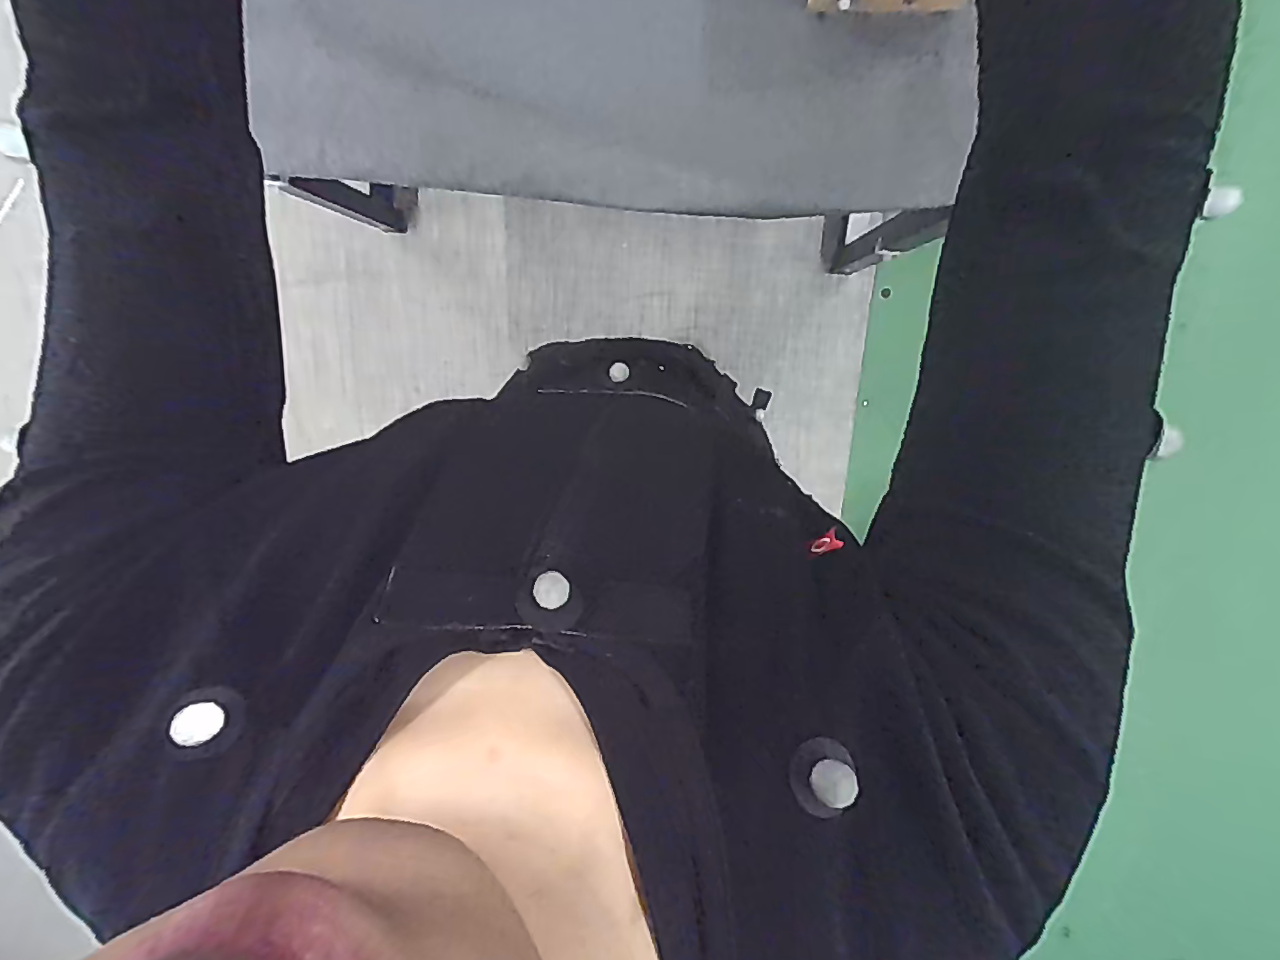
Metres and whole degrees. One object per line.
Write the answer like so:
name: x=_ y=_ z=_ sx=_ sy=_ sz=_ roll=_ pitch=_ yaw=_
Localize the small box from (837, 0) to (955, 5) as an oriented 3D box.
small box: x=0.261 y=-0.574 z=0.488 sx=0.168 sy=0.176 sz=0.179 roll=2 pitch=103 yaw=3
